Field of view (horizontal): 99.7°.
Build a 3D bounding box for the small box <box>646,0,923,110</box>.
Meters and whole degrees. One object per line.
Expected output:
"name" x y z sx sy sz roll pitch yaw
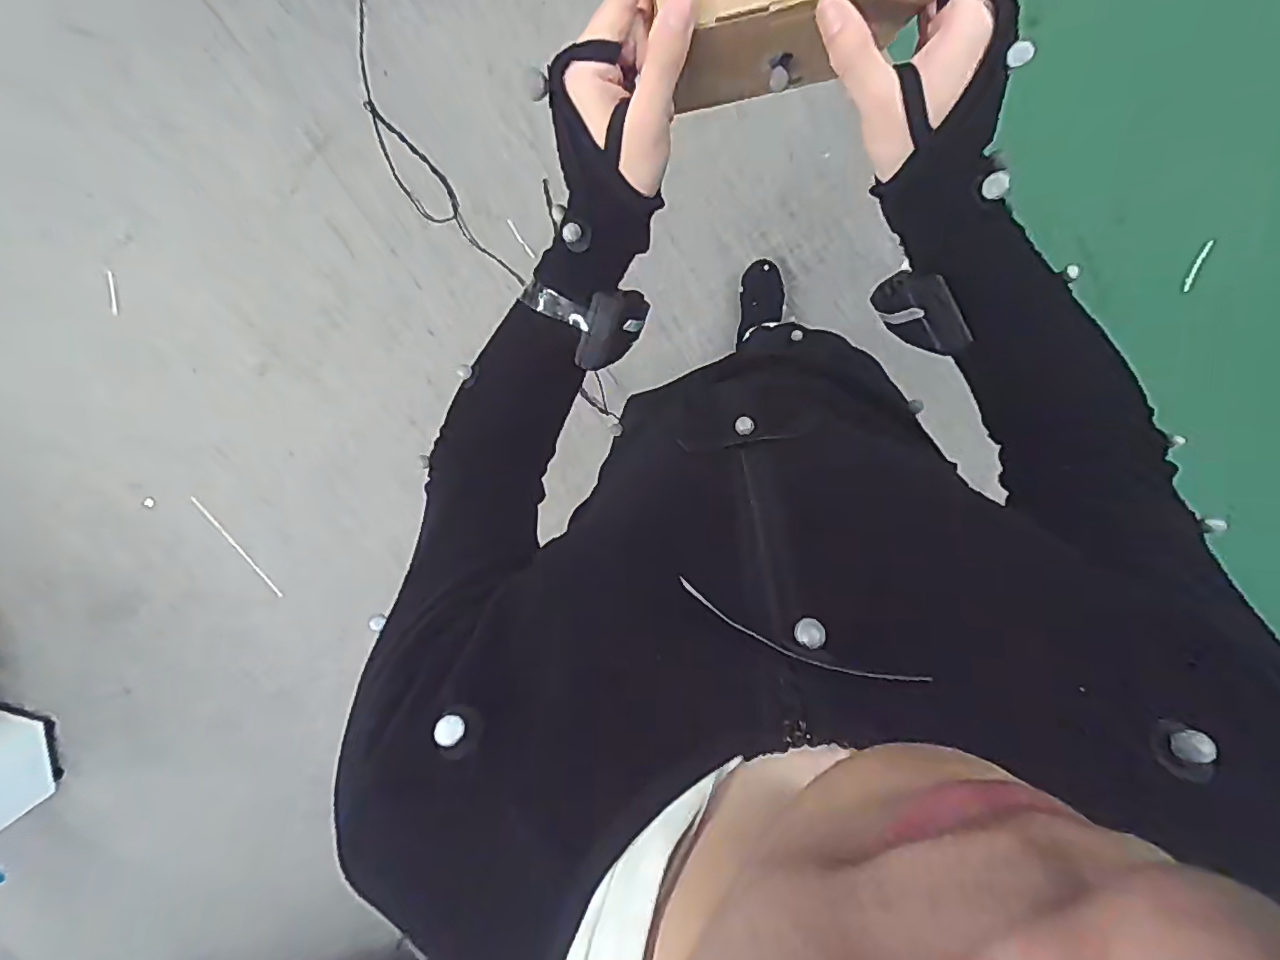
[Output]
"small box" 0.082 -0.366 0.348 0.168 0.176 0.179 -9 110 7
